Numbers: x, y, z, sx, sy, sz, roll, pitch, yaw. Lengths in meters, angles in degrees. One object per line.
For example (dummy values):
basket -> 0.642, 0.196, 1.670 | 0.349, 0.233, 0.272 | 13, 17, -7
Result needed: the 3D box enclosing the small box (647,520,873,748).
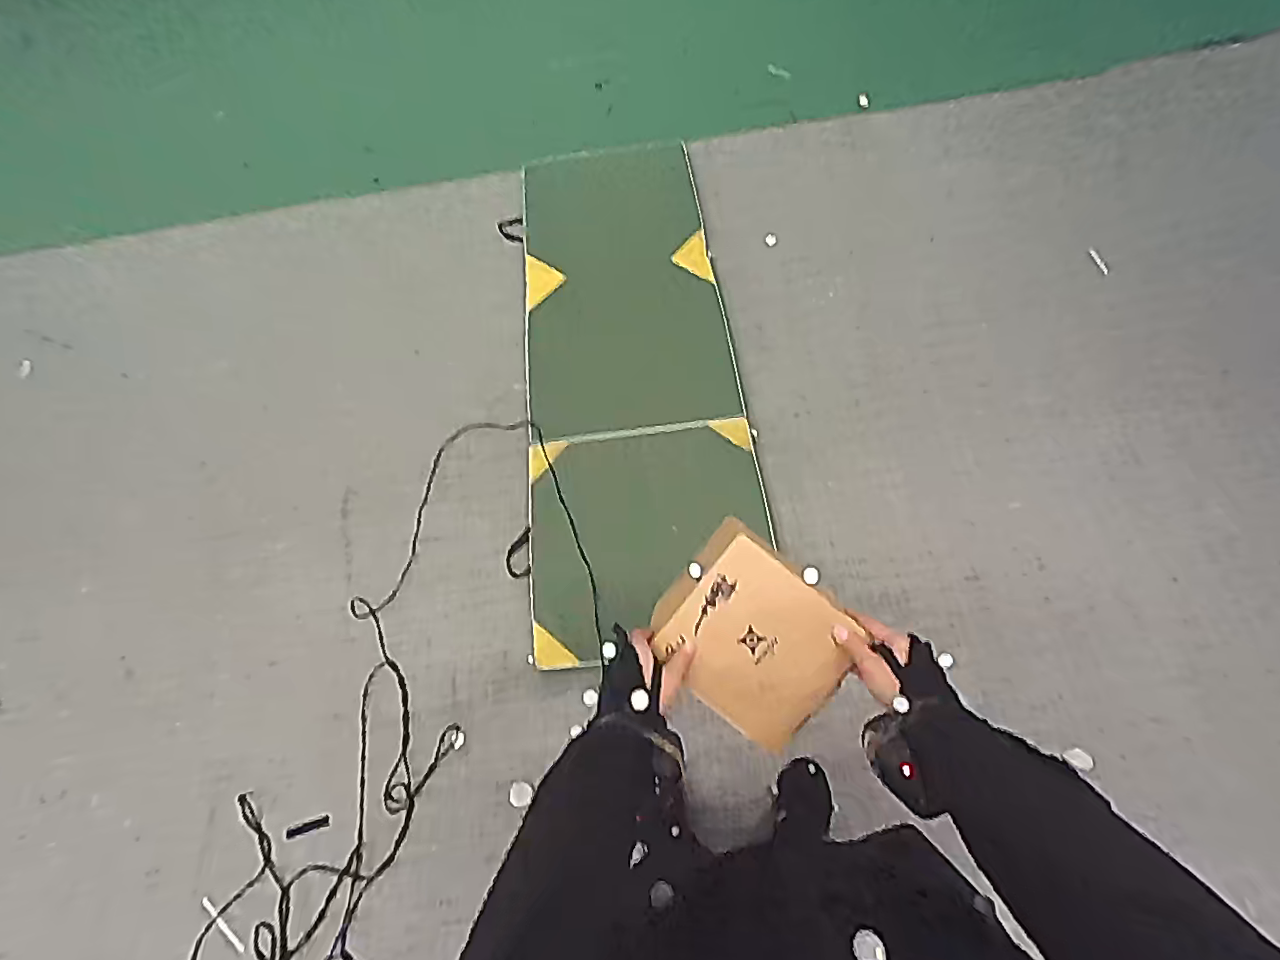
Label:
small box -> 0.131, 0.162, 0.640 | 0.179, 0.176, 0.168 | 38, 95, 3
